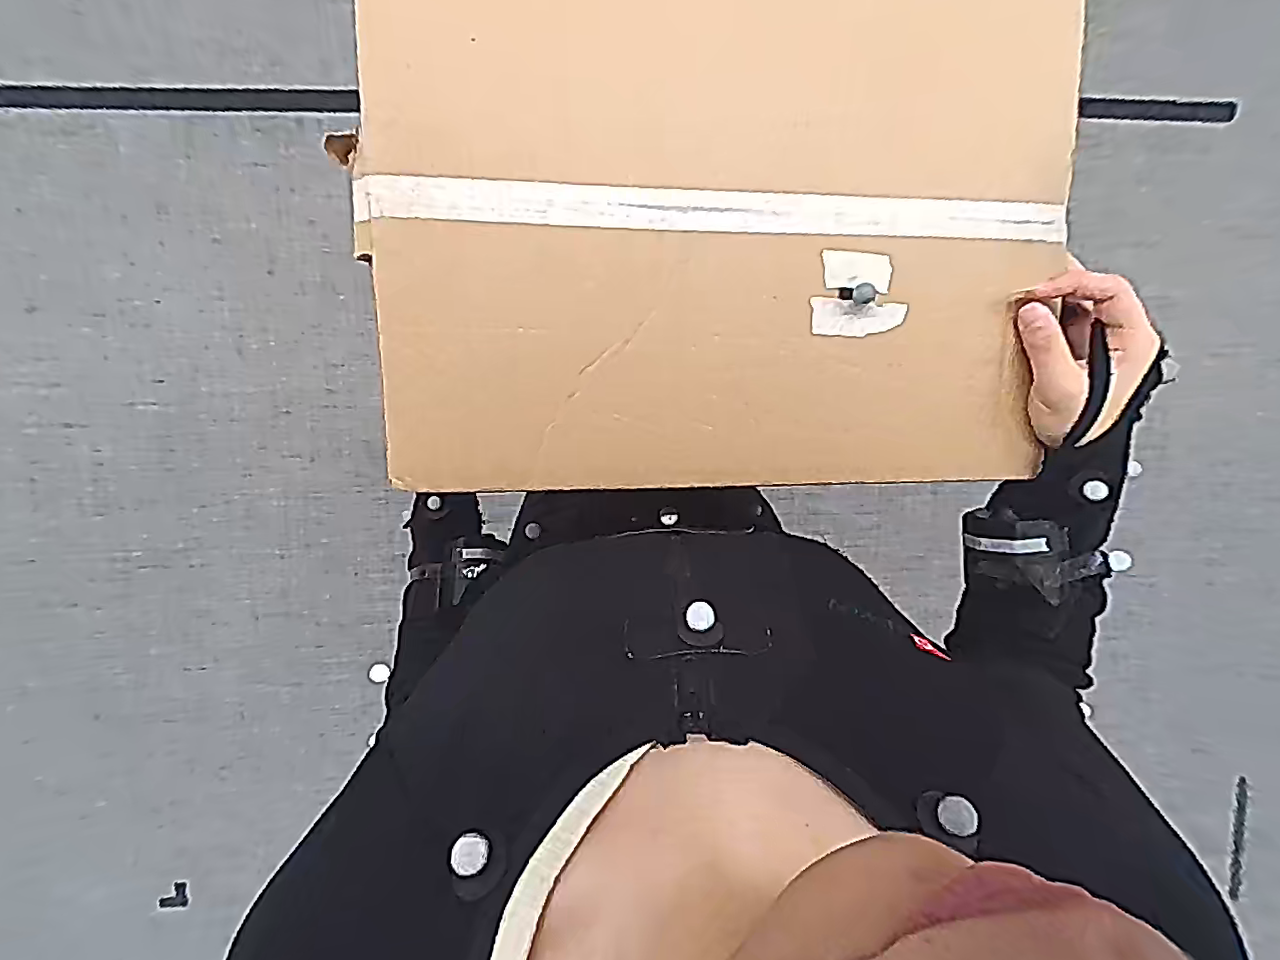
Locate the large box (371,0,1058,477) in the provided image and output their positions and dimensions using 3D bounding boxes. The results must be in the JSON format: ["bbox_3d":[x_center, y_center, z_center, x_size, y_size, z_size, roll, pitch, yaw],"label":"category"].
[{"bbox_3d":[0.036,-0.180,0.461,0.408,0.320,0.320,-1,98,-9],"label":"large box"}]
